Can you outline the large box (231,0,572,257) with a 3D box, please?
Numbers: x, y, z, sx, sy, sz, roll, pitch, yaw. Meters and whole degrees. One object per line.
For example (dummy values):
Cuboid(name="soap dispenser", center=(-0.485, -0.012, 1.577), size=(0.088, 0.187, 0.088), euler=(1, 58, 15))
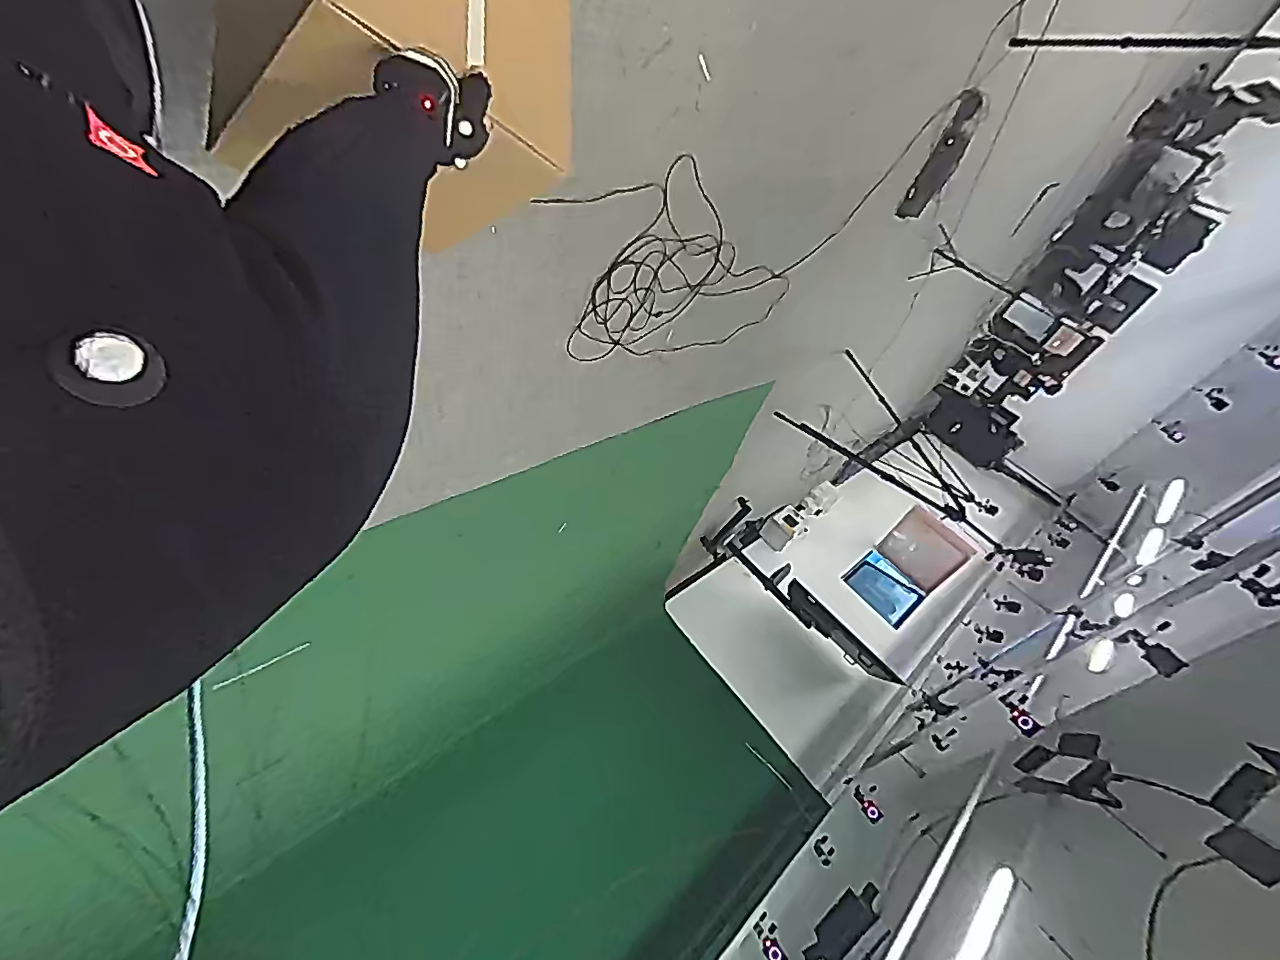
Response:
Cuboid(name="large box", center=(-0.310, -0.586, 0.719), size=(0.320, 0.408, 0.320), euler=(-7, 171, 37))
